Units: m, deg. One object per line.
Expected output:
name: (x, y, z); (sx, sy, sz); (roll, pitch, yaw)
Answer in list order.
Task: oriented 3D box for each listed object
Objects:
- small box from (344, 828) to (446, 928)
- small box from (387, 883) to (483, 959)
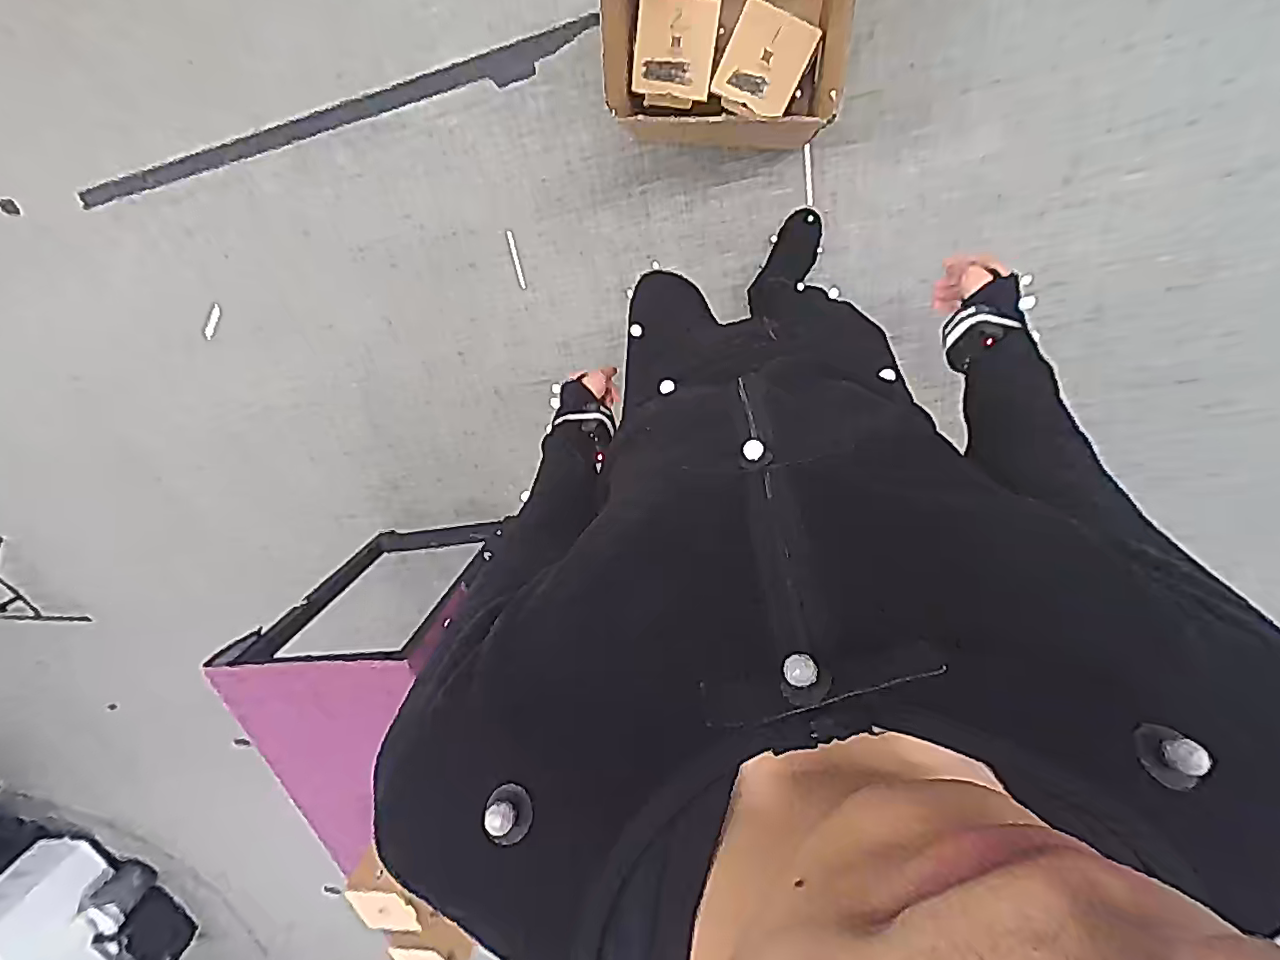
small box: (-0.666, 1.098, 1.500); (0.179, 0.176, 0.168); (-9, 113, 15)
small box: (-0.596, 1.321, 1.591); (0.179, 0.176, 0.168); (-11, 113, 15)
